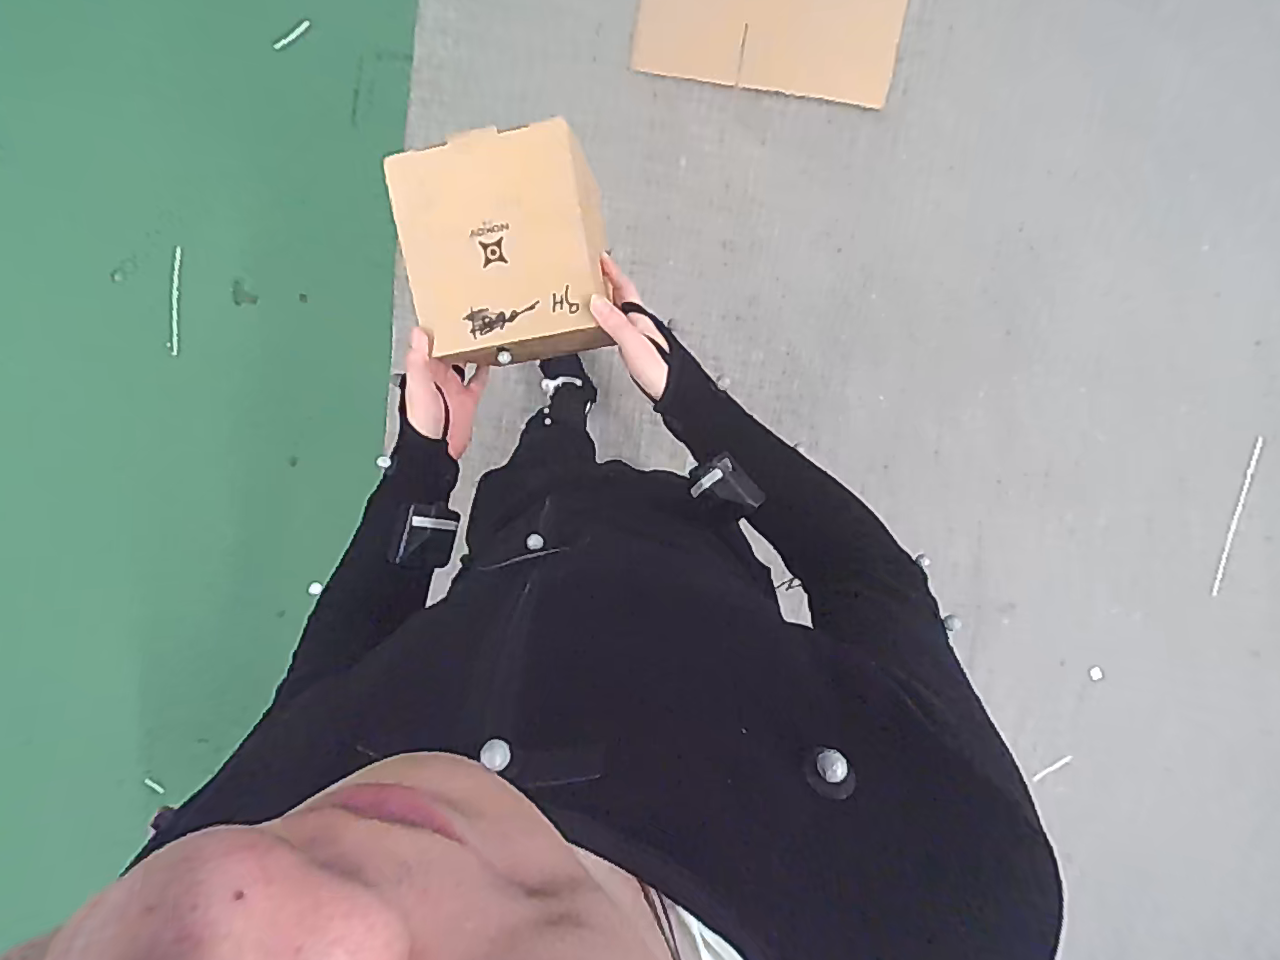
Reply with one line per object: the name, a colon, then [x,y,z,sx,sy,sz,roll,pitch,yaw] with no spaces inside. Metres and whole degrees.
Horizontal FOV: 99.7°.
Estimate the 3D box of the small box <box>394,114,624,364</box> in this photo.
small box: [-0.115,-0.222,0.547,0.168,0.176,0.179,-8,97,7]
